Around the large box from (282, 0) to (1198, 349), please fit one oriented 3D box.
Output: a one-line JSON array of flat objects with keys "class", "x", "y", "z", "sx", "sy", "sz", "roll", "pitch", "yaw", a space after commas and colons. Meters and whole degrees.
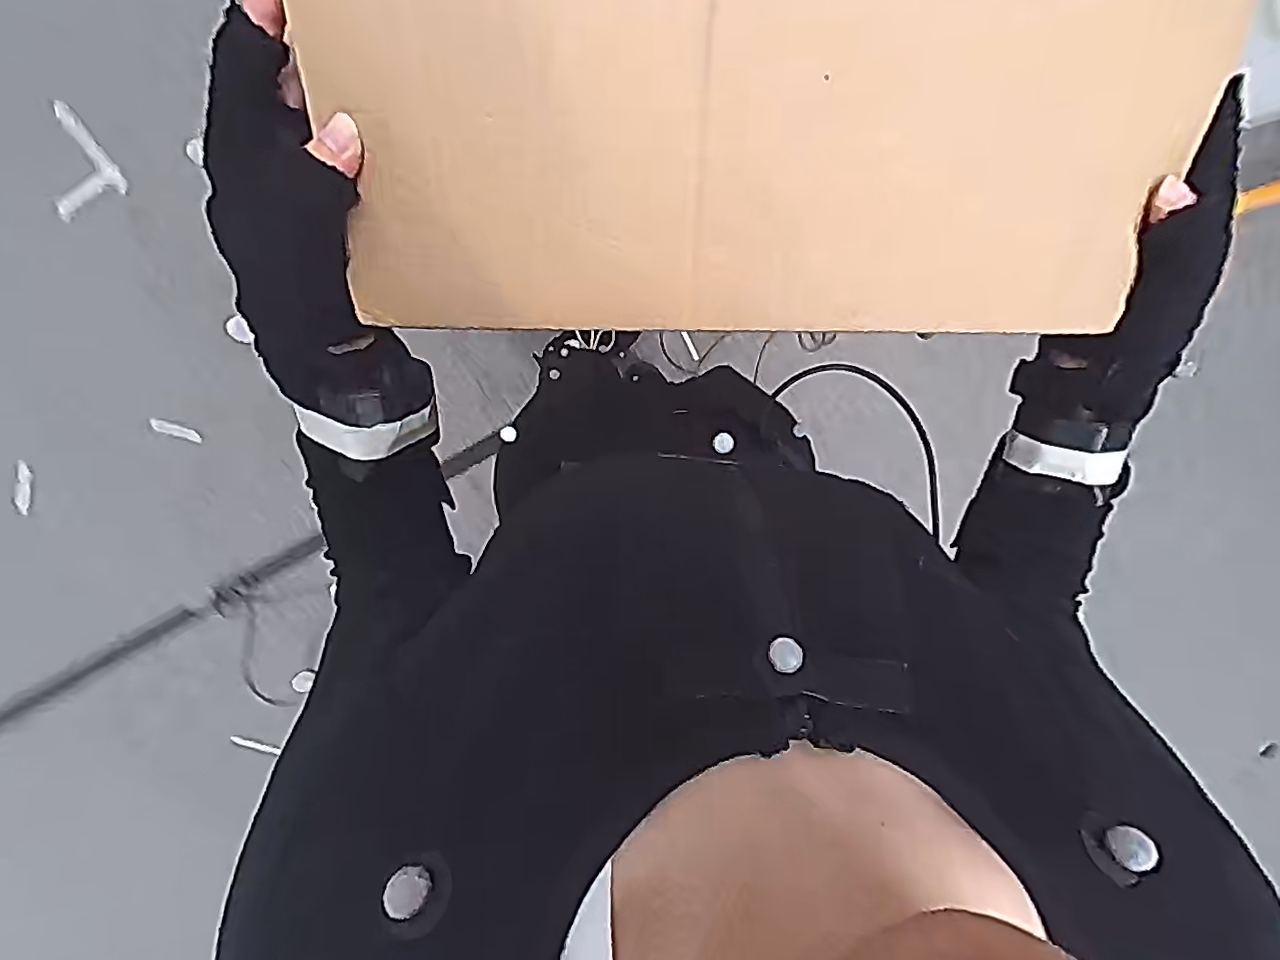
[{"class": "large box", "x": 0.042, "y": -0.286, "z": 0.354, "sx": 0.408, "sy": 0.320, "sz": 0.320, "roll": -2, "pitch": 119, "yaw": -4}]
